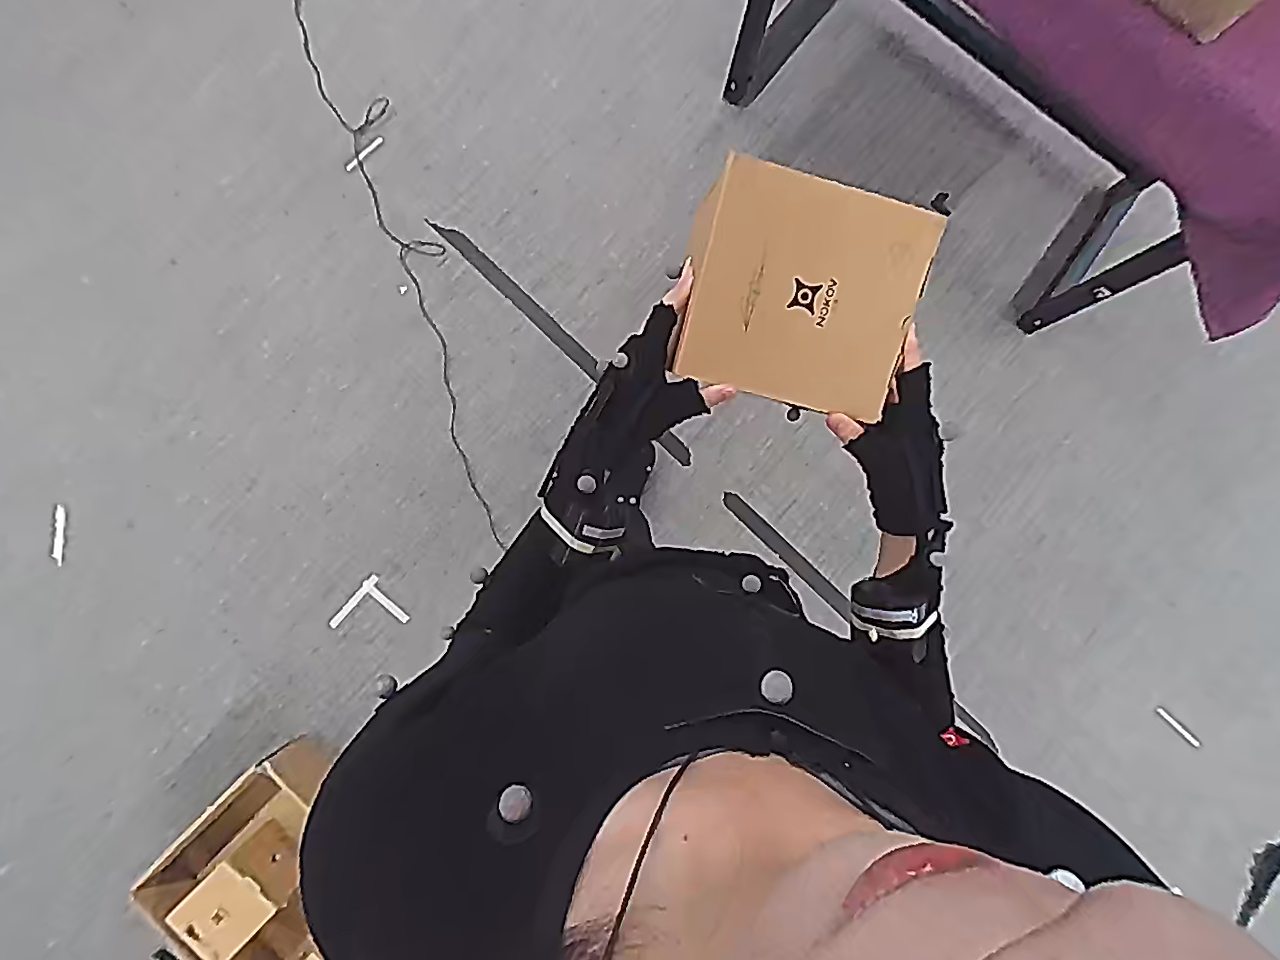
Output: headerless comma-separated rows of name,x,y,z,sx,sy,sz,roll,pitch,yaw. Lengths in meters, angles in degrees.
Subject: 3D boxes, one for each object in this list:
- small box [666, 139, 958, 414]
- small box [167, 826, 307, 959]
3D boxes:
small box,0.131,-0.166,0.486,0.179,0.176,0.168,12,101,-5
small box,-0.918,0.962,1.260,0.179,0.176,0.168,-44,92,-8
